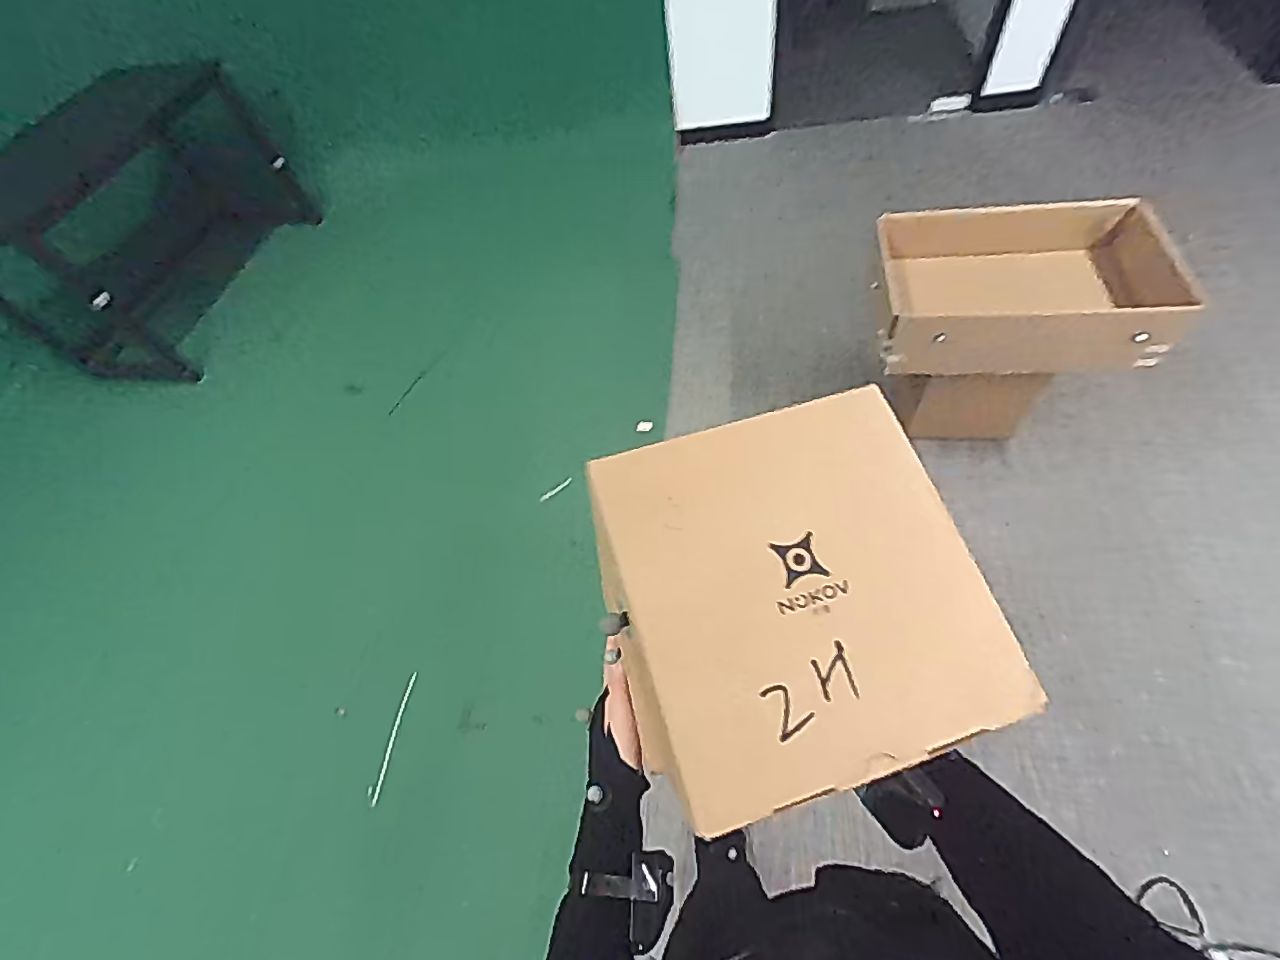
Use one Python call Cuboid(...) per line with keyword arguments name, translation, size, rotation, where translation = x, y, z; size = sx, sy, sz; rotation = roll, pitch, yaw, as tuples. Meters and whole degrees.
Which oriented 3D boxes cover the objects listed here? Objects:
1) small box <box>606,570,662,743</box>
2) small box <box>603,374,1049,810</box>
Cuboid(name="small box", translation=(0.061, 0.186, 0.635), size=(0.168, 0.176, 0.179), rotation=(-13, 70, -7))
Cuboid(name="small box", translation=(0.076, 0.067, 0.328), size=(0.168, 0.176, 0.179), rotation=(-14, 70, -7))
